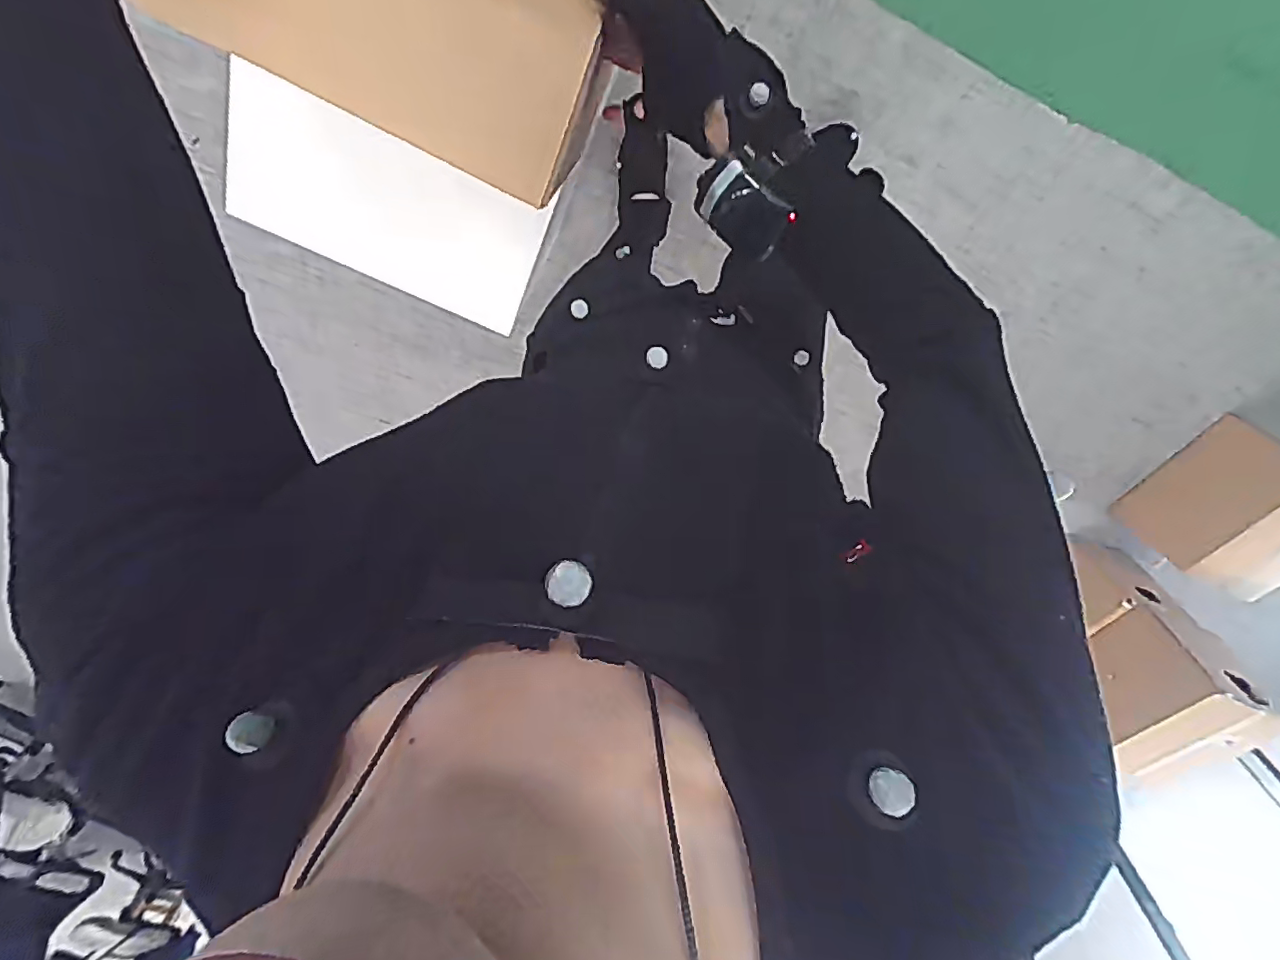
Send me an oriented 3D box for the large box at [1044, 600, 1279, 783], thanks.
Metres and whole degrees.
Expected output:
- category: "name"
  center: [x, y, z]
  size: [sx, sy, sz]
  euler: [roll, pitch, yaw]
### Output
- category: "large box"
  center: [1.570, 0.641, 1.641]
  size: [0.320, 0.320, 0.408]
  euler: [21, 124, -9]
